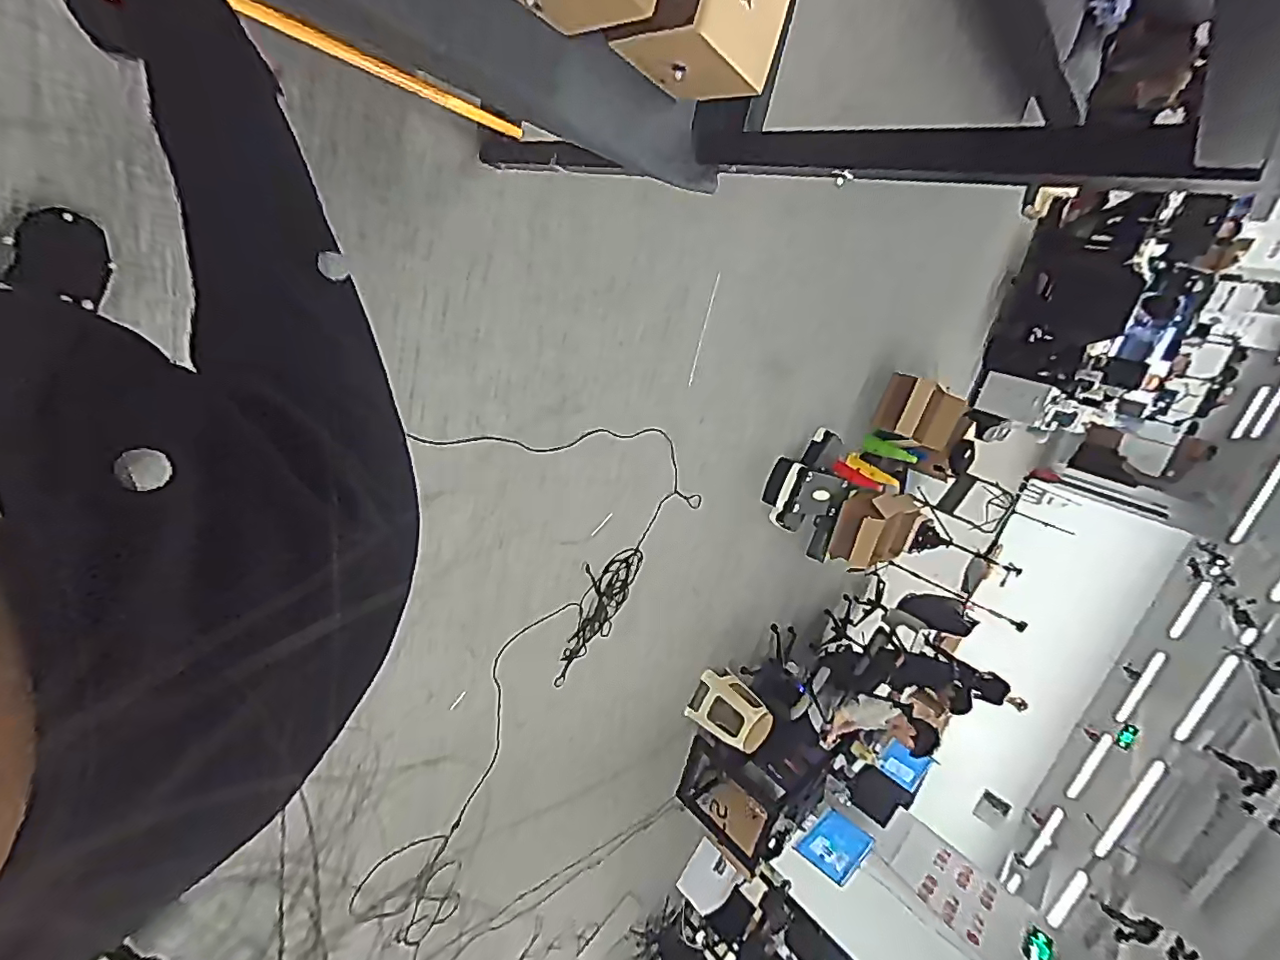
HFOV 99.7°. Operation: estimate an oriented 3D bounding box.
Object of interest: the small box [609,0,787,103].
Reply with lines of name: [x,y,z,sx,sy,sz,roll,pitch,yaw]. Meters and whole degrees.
small box: [0.080,-0.657,0.749,0.168,0.176,0.179,0,111,-48]
